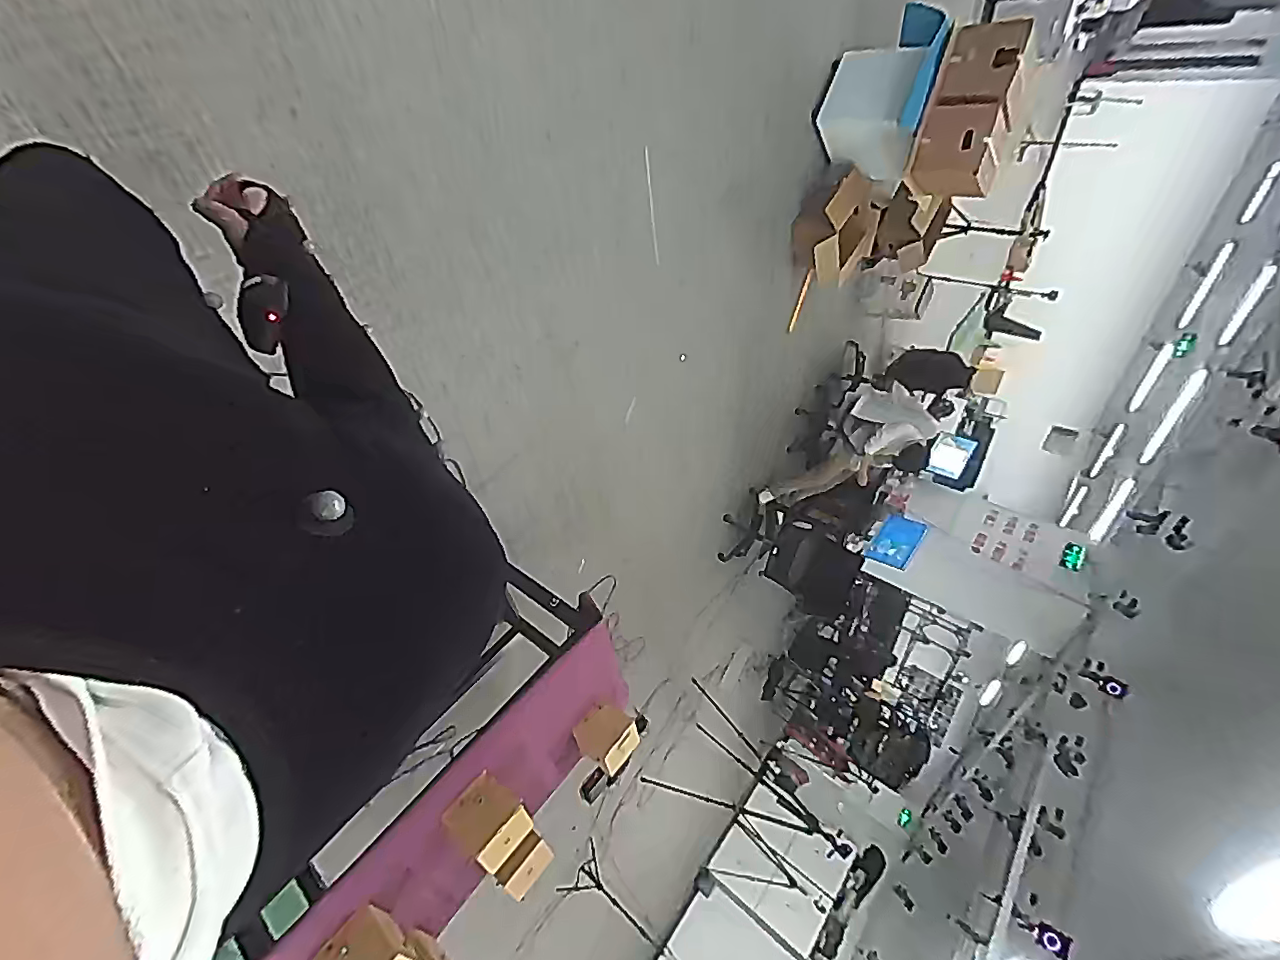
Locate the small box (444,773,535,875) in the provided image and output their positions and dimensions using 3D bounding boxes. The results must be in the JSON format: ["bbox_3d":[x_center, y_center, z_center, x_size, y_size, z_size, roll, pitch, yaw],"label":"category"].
[{"bbox_3d":[-0.438,1.000,1.582,0.168,0.176,0.179,-41,141,-32],"label":"small box"}]

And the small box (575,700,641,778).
[{"bbox_3d":[-0.120,0.947,1.995,0.168,0.176,0.179,-41,140,-32],"label":"small box"}]

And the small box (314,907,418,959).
[{"bbox_3d":[-0.690,1.234,1.369,0.168,0.176,0.179,-42,142,-34],"label":"small box"}]

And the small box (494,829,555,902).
[{"bbox_3d":[-0.409,1.228,1.777,0.168,0.176,0.179,-41,139,-33],"label":"small box"}]

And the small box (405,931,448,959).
[{"bbox_3d":[-0.654,1.473,1.581,0.168,0.176,0.179,-44,141,-33],"label":"small box"}]
